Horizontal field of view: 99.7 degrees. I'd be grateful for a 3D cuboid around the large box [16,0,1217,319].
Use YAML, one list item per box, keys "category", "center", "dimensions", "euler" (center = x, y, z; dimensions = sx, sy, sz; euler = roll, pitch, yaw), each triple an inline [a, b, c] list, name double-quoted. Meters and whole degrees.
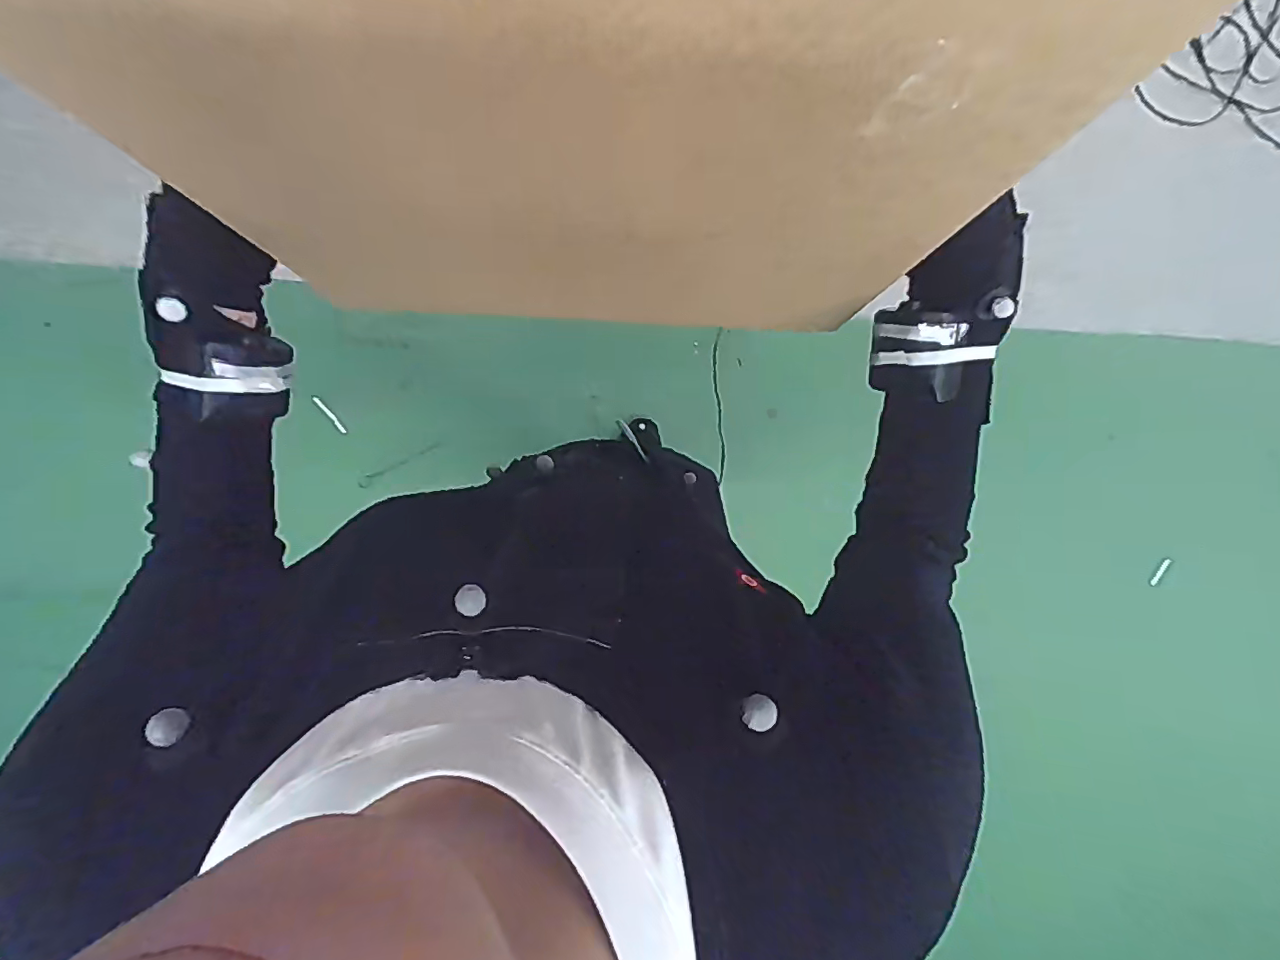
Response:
- category: "large box"
  center: [-0.017, -0.297, 0.296]
  dimensions: [0.408, 0.320, 0.320]
  euler: [3, 88, -3]
